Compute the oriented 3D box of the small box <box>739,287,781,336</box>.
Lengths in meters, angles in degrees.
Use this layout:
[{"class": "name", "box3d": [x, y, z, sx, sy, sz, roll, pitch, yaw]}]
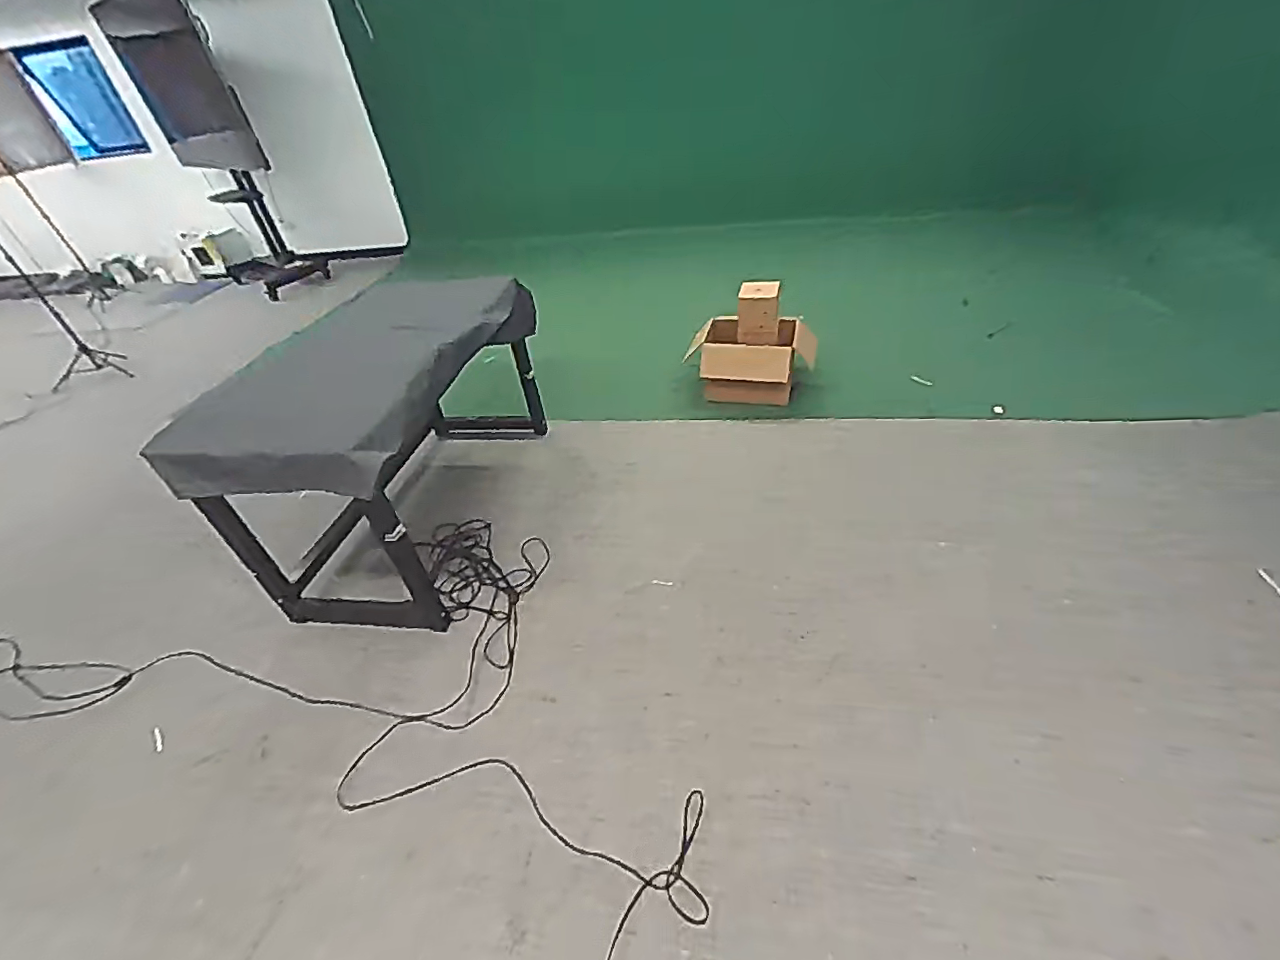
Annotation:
[{"class": "small box", "box3d": [0.542, -0.759, 2.442, 0.168, 0.176, 0.179, 5, 40, 16]}]
